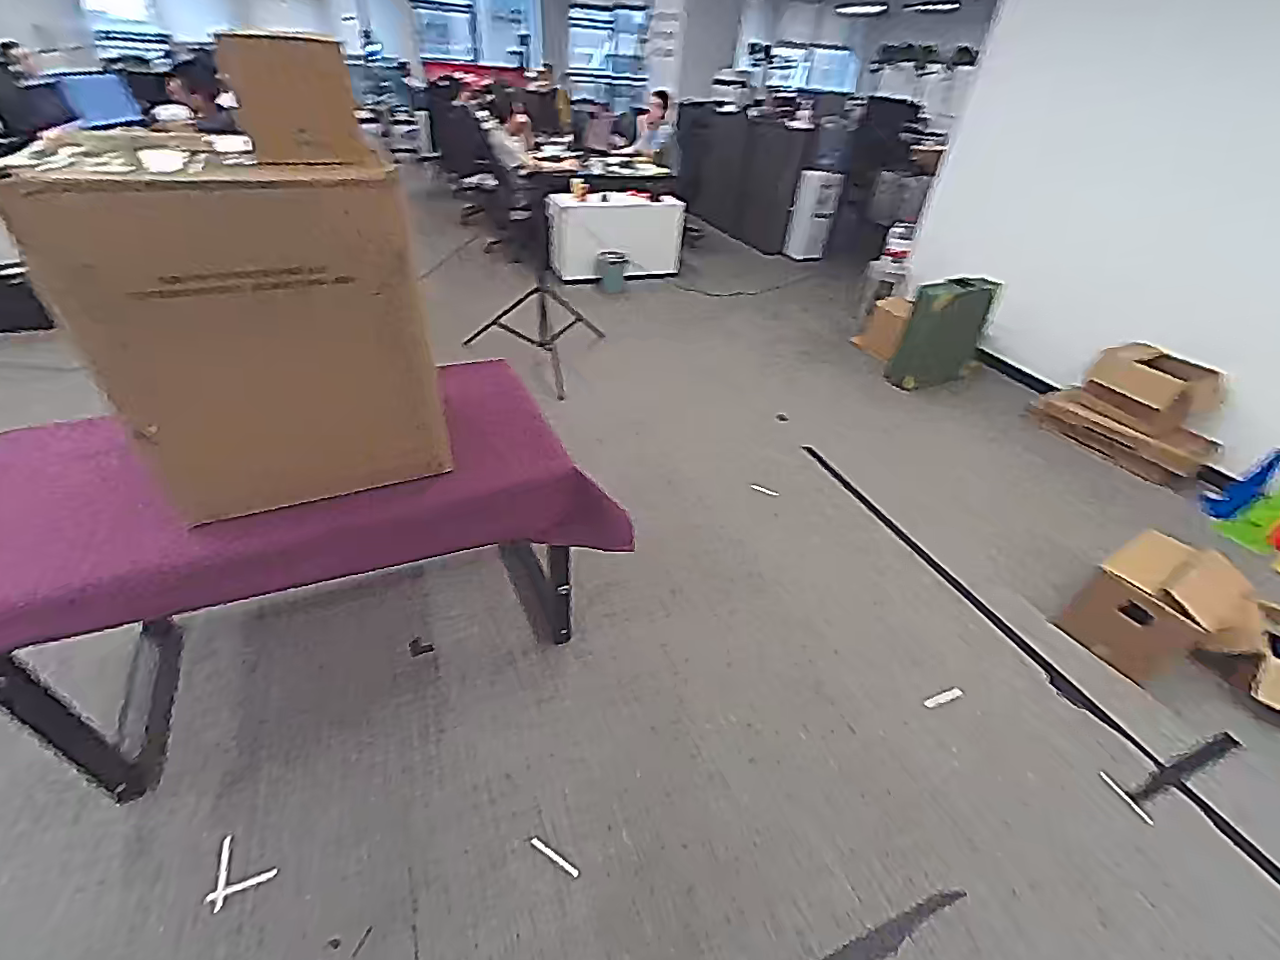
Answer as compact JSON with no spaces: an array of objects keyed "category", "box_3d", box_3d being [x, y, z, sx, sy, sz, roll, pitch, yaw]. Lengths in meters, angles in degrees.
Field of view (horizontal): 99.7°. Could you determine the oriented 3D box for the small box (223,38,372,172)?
[{"category":"small box","box_3d":[-0.570,-0.637,0.925,0.179,0.176,0.168,-13,42,-22]}]
